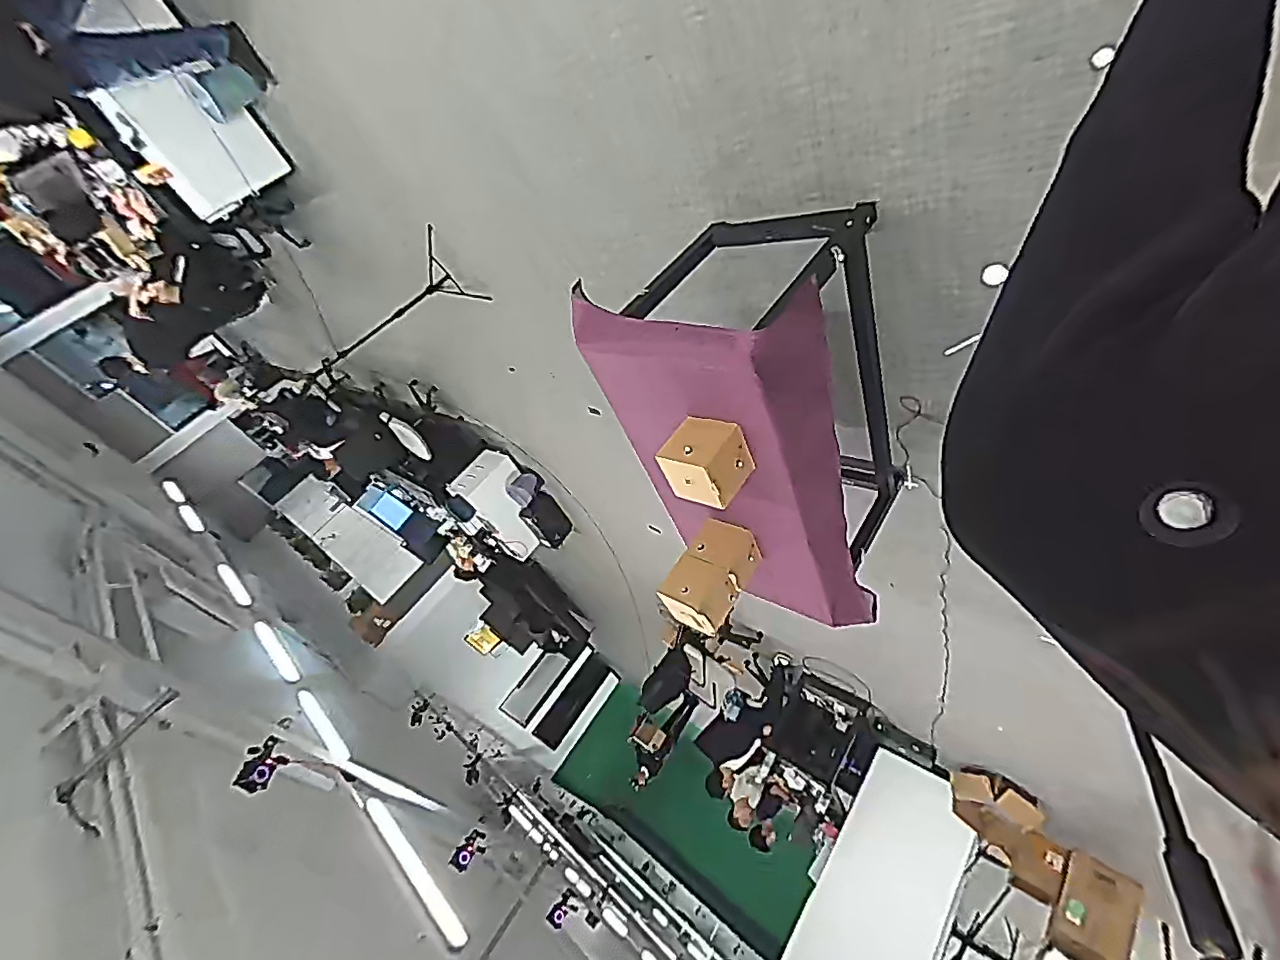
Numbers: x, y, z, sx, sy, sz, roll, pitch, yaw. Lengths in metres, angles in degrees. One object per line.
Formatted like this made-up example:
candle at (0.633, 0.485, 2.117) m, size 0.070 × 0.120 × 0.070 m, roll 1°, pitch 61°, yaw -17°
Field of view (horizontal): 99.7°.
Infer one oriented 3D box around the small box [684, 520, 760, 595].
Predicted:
small box at (0.286, 0.260, 1.863) m, size 0.179 × 0.176 × 0.168 m, roll 16°, pitch 147°, yaw 41°

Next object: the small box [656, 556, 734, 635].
small box at (0.190, 0.377, 1.798) m, size 0.179 × 0.176 × 0.168 m, roll 14°, pitch 146°, yaw 45°

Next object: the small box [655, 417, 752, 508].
small box at (0.177, -0.054, 1.478) m, size 0.179 × 0.176 × 0.168 m, roll 15°, pitch 147°, yaw 43°
